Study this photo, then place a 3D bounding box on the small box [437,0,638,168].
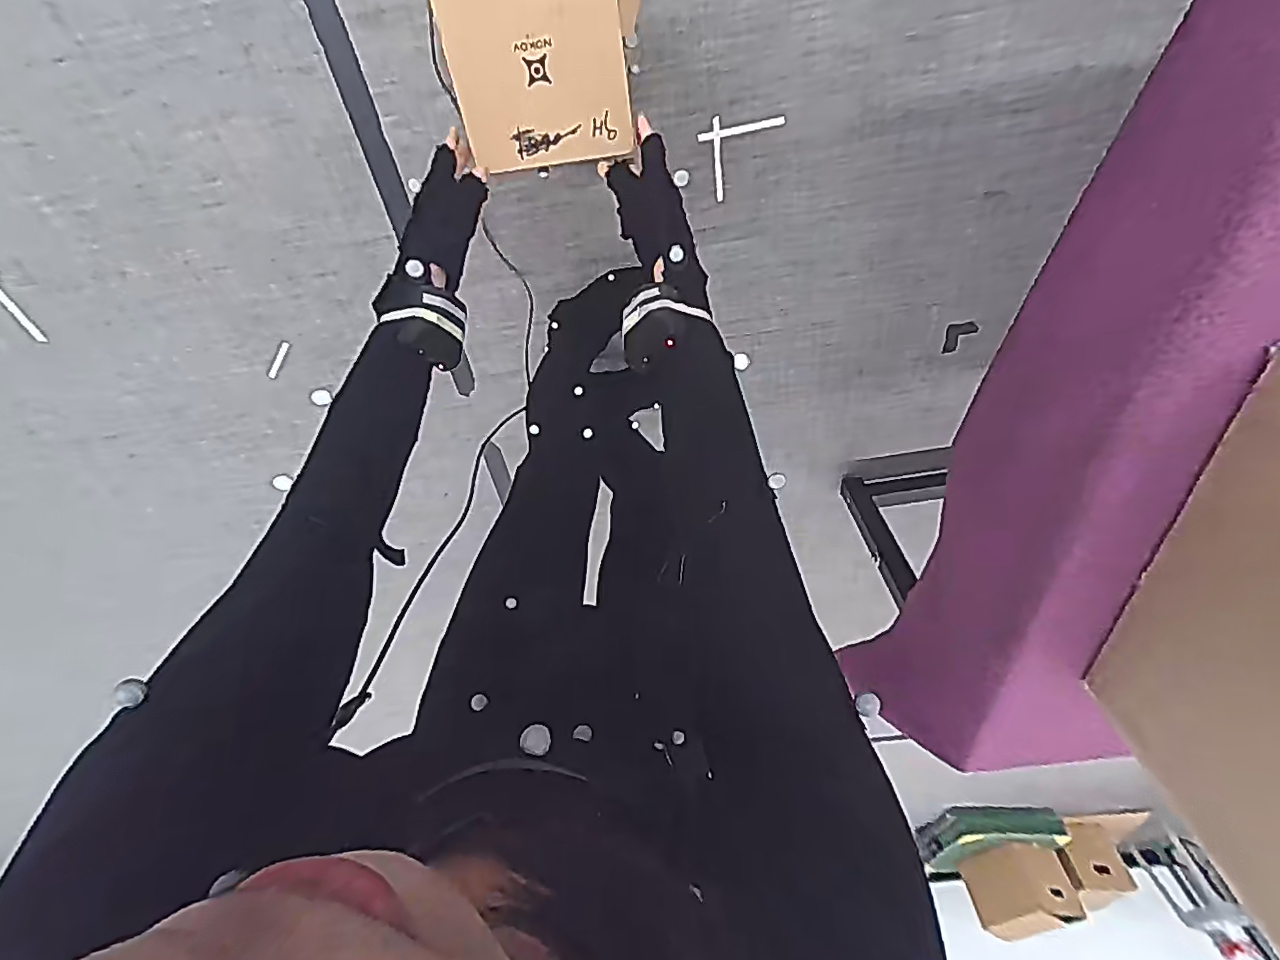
[{"bbox_3d":[-0.095,-0.440,0.556,0.168,0.176,0.179,-7,128,2],"label":"small box"}]
